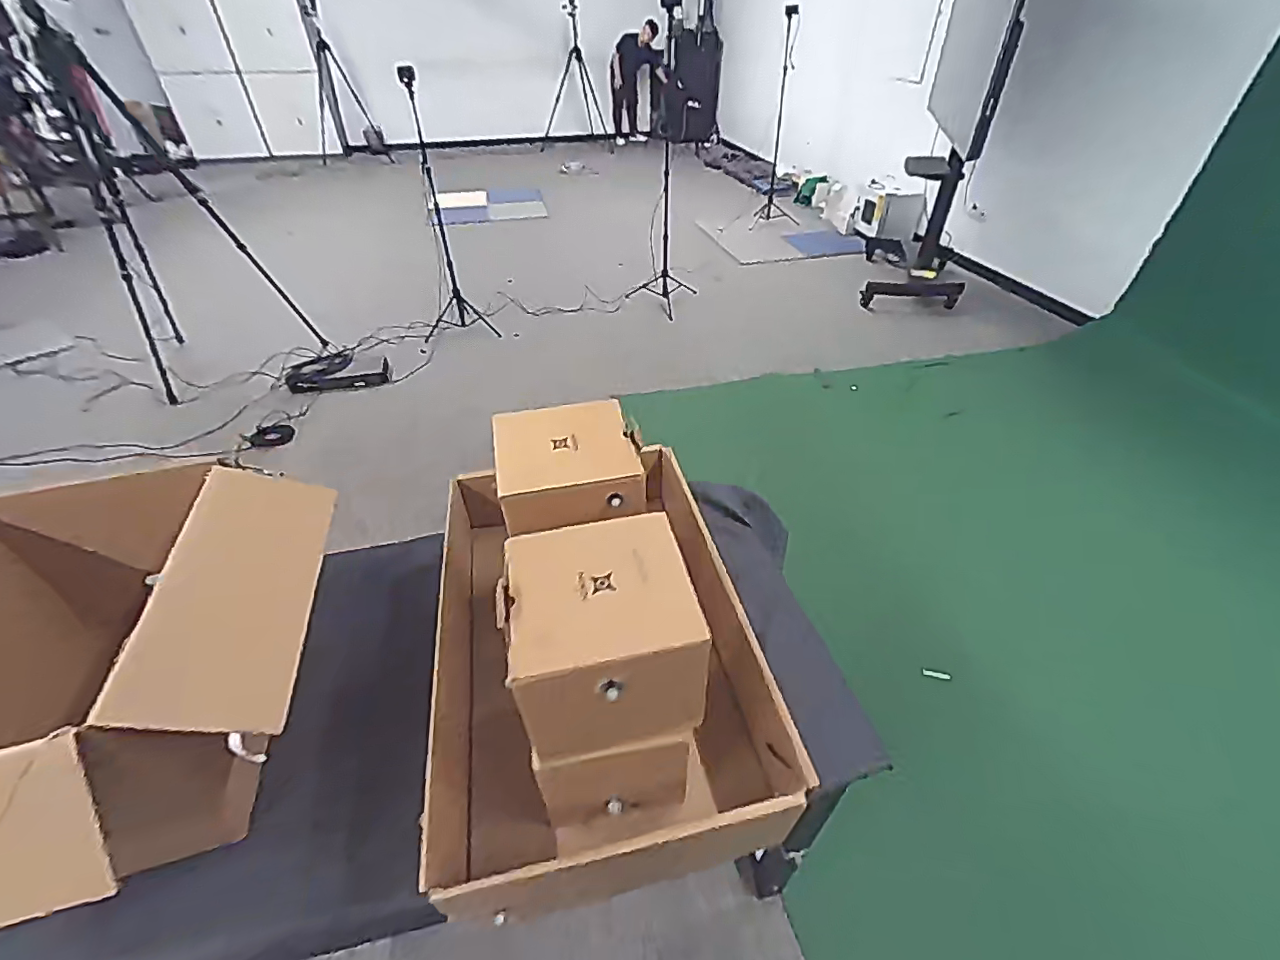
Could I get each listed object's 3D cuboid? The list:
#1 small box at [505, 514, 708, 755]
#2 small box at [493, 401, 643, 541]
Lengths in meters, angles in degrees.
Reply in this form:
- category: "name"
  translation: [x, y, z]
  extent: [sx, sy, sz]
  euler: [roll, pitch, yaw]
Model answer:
- category: "small box"
  translation: [-0.037, 0.162, 0.570]
  extent: [0.179, 0.176, 0.168]
  euler: [-9, 42, -9]
- category: "small box"
  translation: [-0.095, 0.015, 0.742]
  extent: [0.179, 0.176, 0.168]
  euler: [-9, 44, -10]
